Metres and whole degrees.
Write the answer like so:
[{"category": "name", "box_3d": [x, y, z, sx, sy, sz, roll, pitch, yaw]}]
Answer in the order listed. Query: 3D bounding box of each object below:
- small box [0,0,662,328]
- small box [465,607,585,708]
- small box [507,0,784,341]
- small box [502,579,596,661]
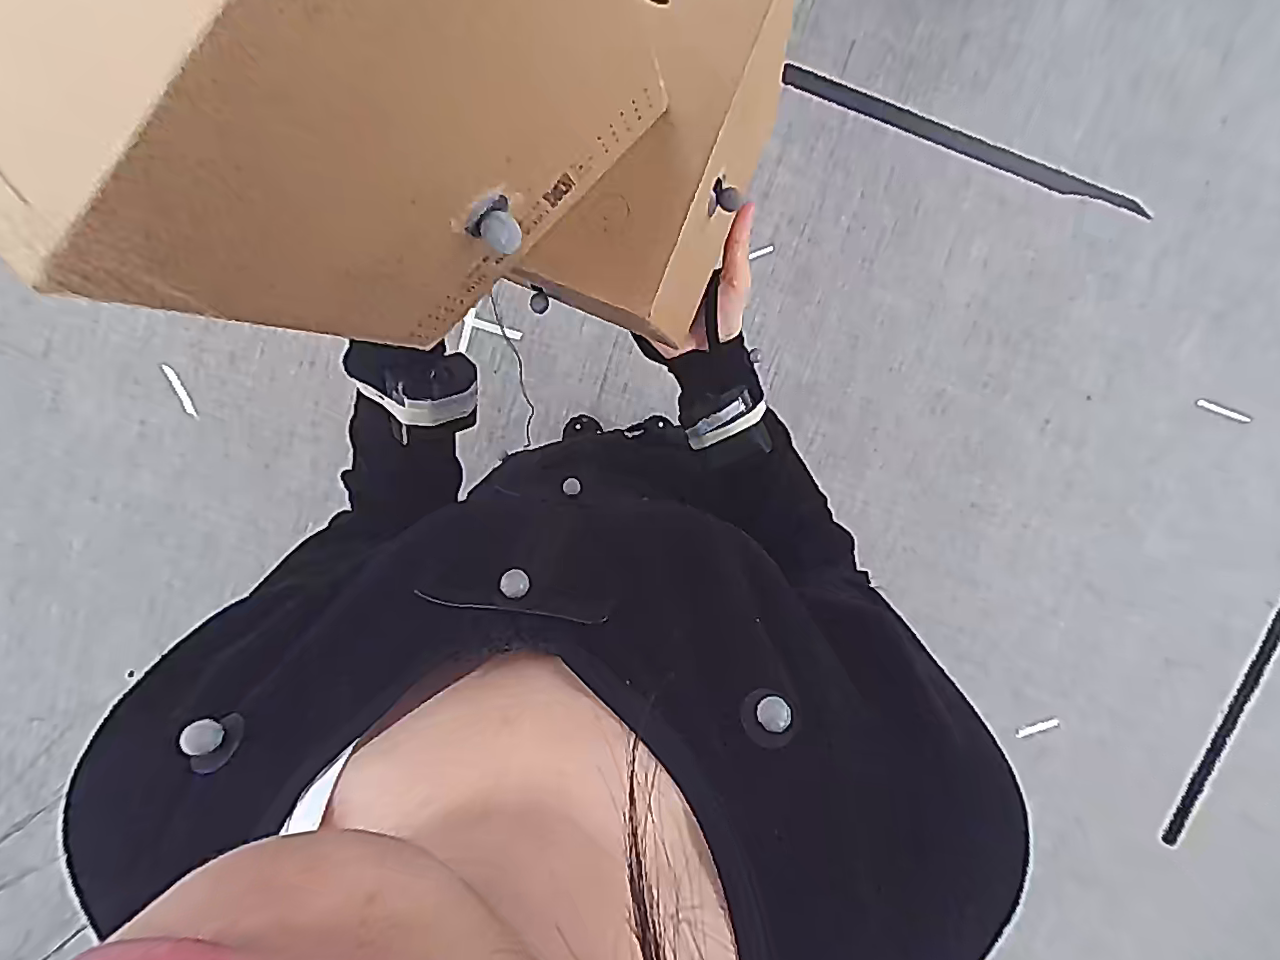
[{"category": "small box", "box_3d": [-0.113, -0.174, 0.183, 0.168, 0.176, 0.179, -39, 91, 14]}, {"category": "small box", "box_3d": [-0.188, 0.317, 0.817, 0.168, 0.176, 0.179, 22, 97, -3]}, {"category": "small box", "box_3d": [-0.023, -0.200, 0.330, 0.168, 0.176, 0.179, 24, 100, 5]}, {"category": "small box", "box_3d": [-0.187, 0.301, 0.979, 0.168, 0.176, 0.179, 24, 96, -3]}]
